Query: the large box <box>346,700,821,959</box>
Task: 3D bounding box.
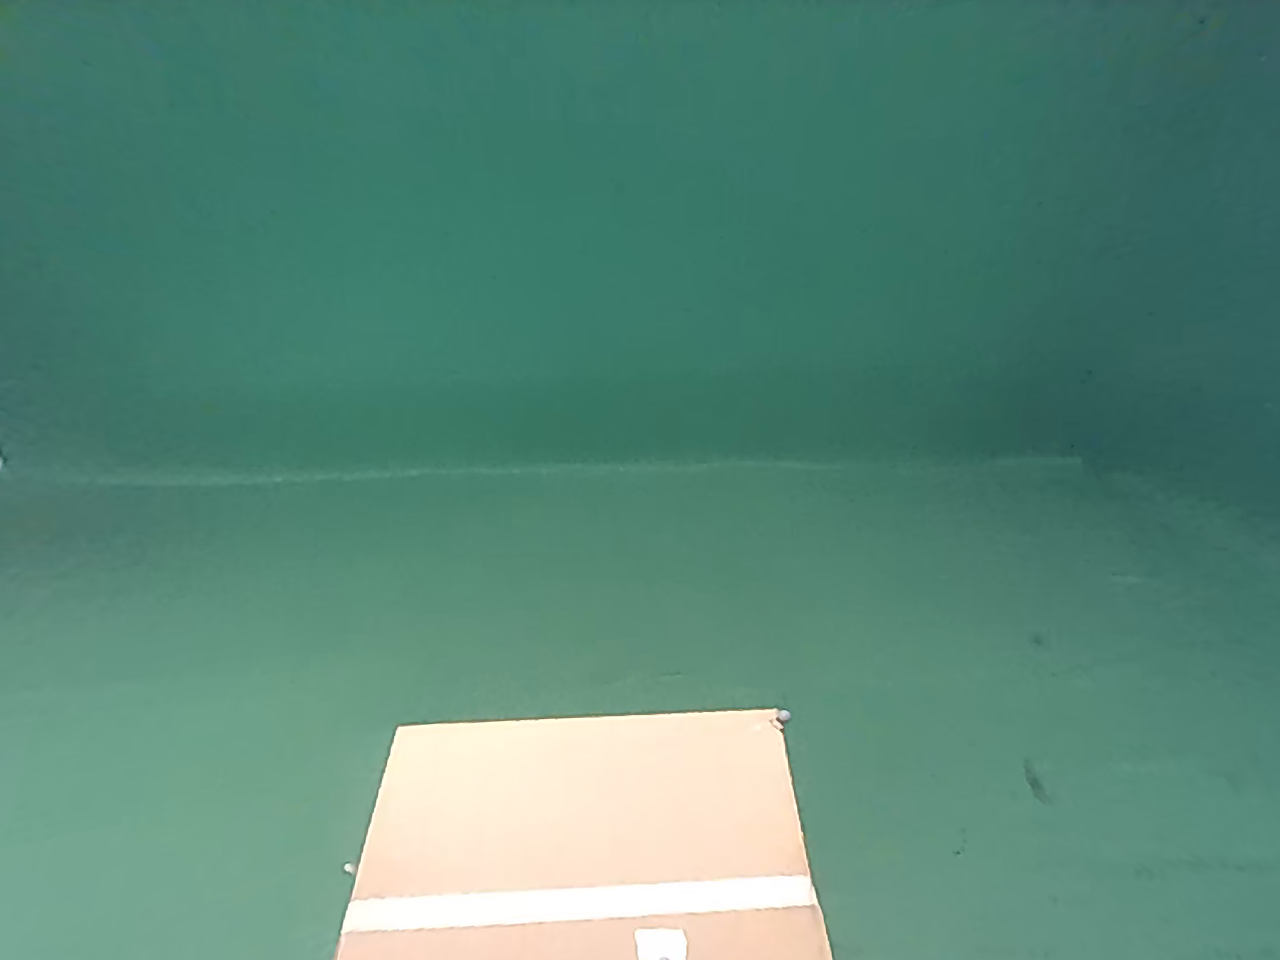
[{"bbox_3d":[-0.050,0.464,0.593,0.408,0.320,0.320,-2,48,-1],"label":"large box"}]
